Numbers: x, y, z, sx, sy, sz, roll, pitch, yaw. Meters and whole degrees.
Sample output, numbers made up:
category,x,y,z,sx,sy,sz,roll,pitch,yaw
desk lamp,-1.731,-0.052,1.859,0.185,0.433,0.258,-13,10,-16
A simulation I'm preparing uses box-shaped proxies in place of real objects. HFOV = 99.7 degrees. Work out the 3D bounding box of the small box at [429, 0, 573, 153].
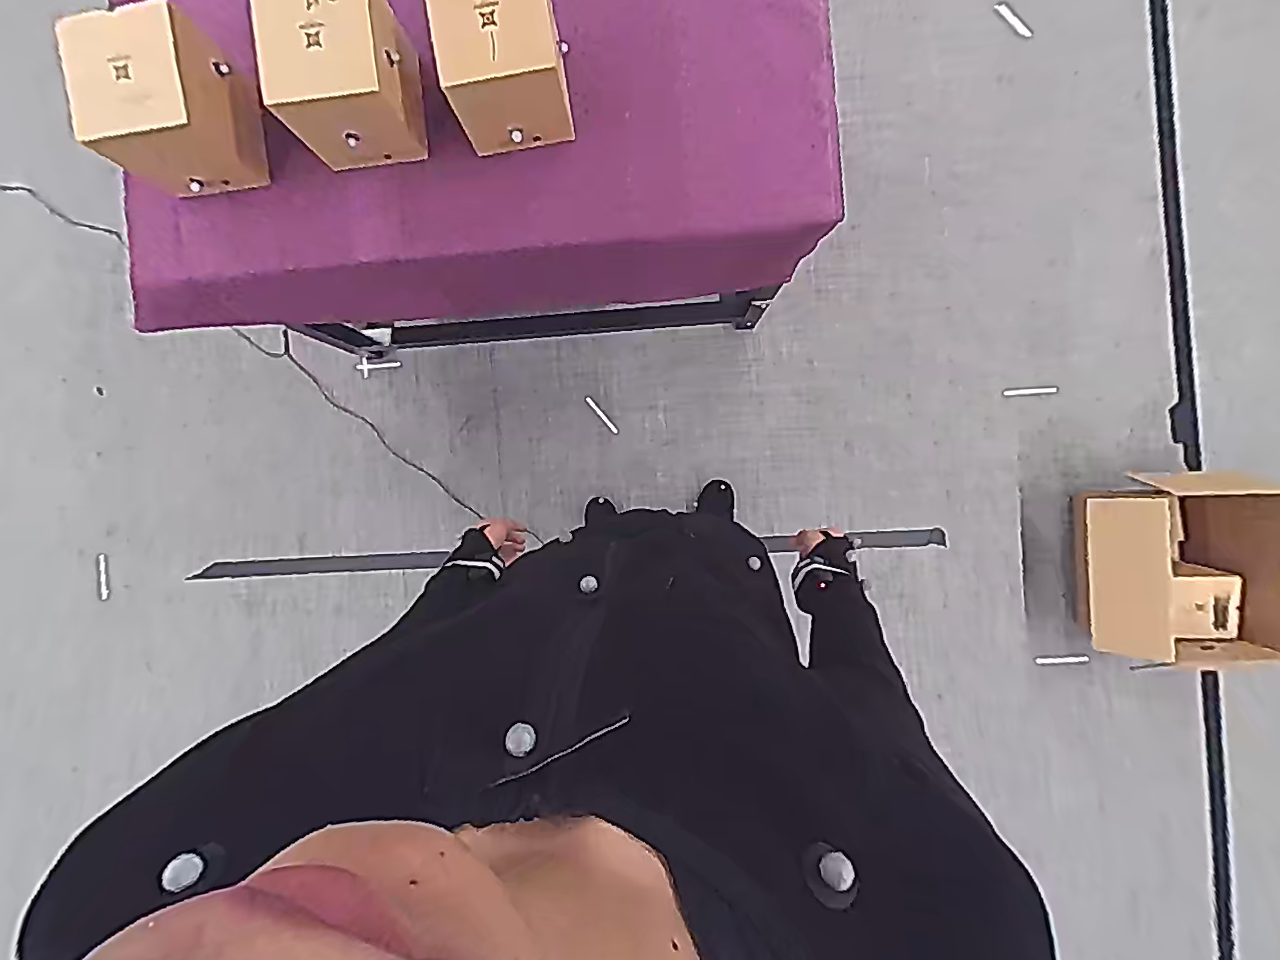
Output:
category,x,y,z,sx,sy,sz,roll,pitch,yaw
small box,-0.204,-0.641,0.820,0.168,0.176,0.179,-9,91,2

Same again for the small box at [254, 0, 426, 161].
category,x,y,z,sx,sy,sz,roll,pitch,yaw
small box,-0.444,-0.616,0.826,0.168,0.176,0.179,-6,90,2

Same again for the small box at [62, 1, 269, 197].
category,x,y,z,sx,sy,sz,roll,pitch,yaw
small box,-0.715,-0.573,0.834,0.168,0.176,0.179,-8,90,2
